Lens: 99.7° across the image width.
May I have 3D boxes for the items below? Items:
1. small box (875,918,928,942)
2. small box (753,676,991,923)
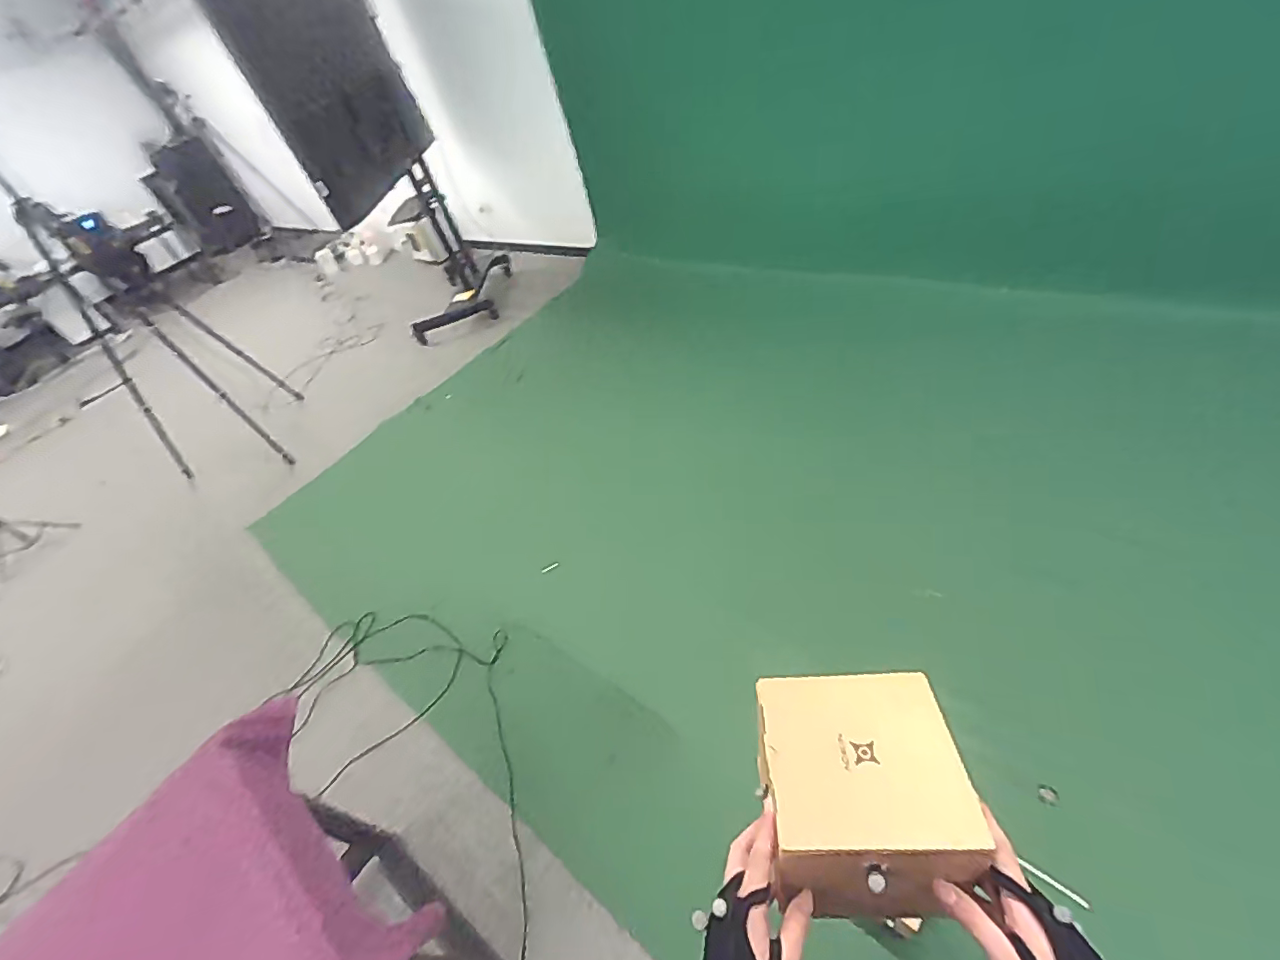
[{"bbox_3d":[0.554,0.885,1.207,0.179,0.176,0.168,21,56,36],"label":"small box"},{"bbox_3d":[0.215,0.325,0.555,0.179,0.176,0.168,-7,35,7],"label":"small box"}]
